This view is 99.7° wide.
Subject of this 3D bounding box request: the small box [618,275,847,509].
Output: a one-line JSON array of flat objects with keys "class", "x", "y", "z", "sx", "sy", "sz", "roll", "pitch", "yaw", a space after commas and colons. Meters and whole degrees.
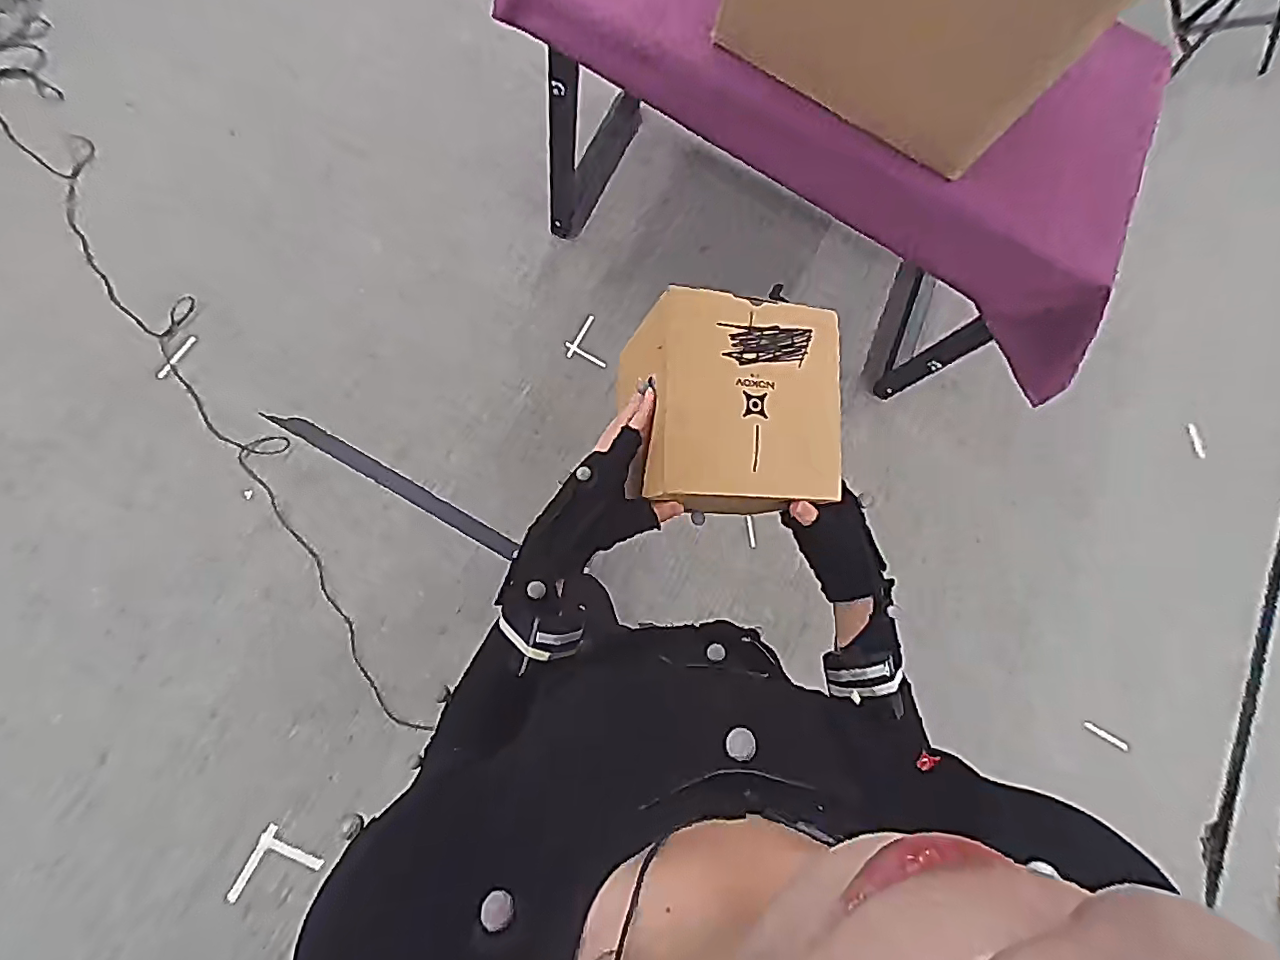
[{"class": "small box", "x": 0.076, "y": -0.068, "z": 0.526, "sx": 0.168, "sy": 0.176, "sz": 0.179, "roll": 2, "pitch": 82, "yaw": -15}]
